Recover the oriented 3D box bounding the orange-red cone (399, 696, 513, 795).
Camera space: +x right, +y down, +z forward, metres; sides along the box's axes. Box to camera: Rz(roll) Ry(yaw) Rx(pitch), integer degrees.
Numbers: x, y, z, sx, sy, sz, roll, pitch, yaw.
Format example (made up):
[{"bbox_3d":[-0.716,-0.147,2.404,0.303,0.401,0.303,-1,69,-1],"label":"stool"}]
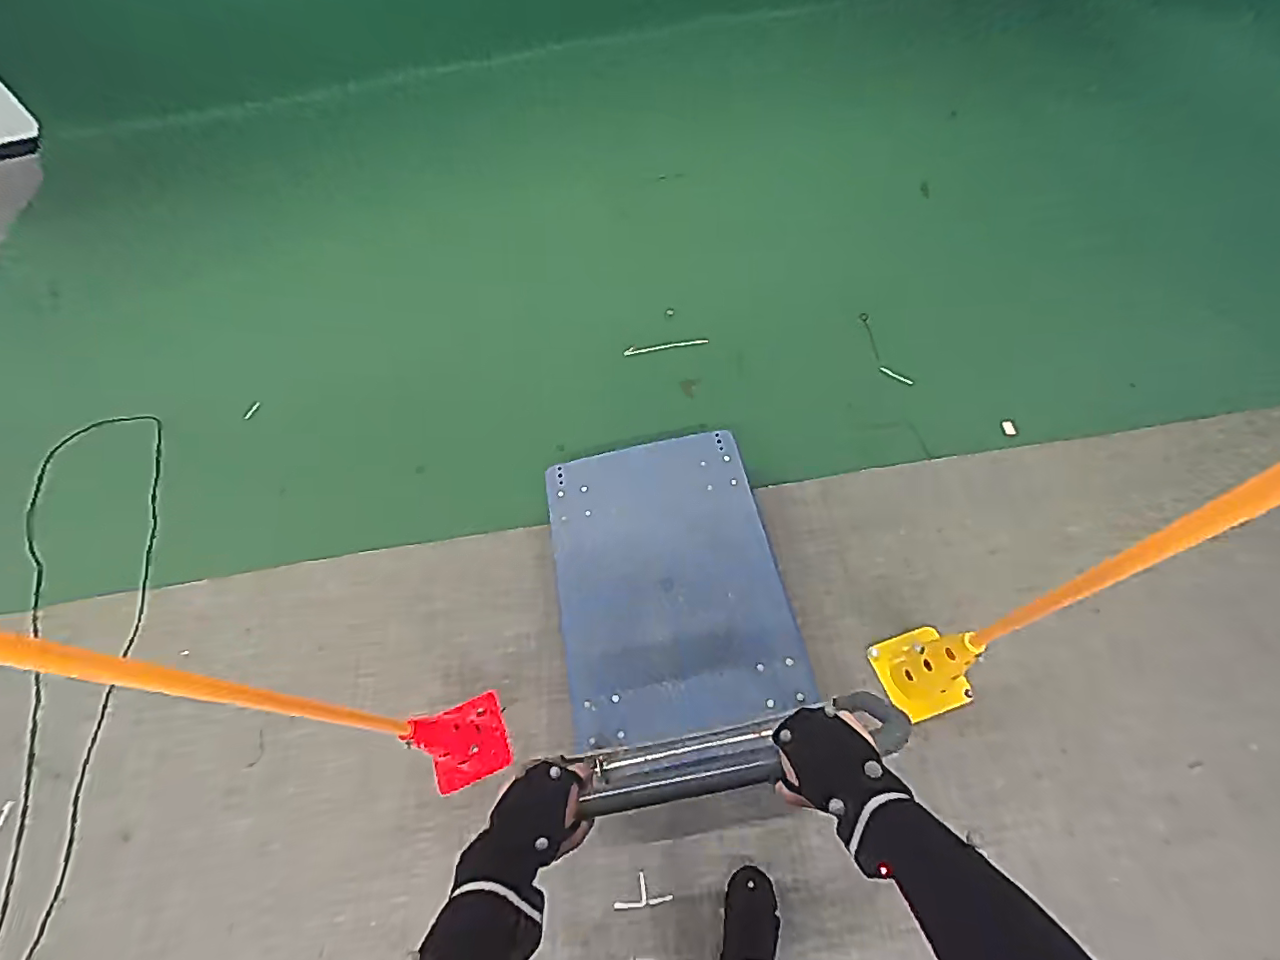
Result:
[{"bbox_3d":[-0.464,0.612,1.275,0.199,0.360,0.198,-23,60,-4],"label":"orange-red cone"}]
